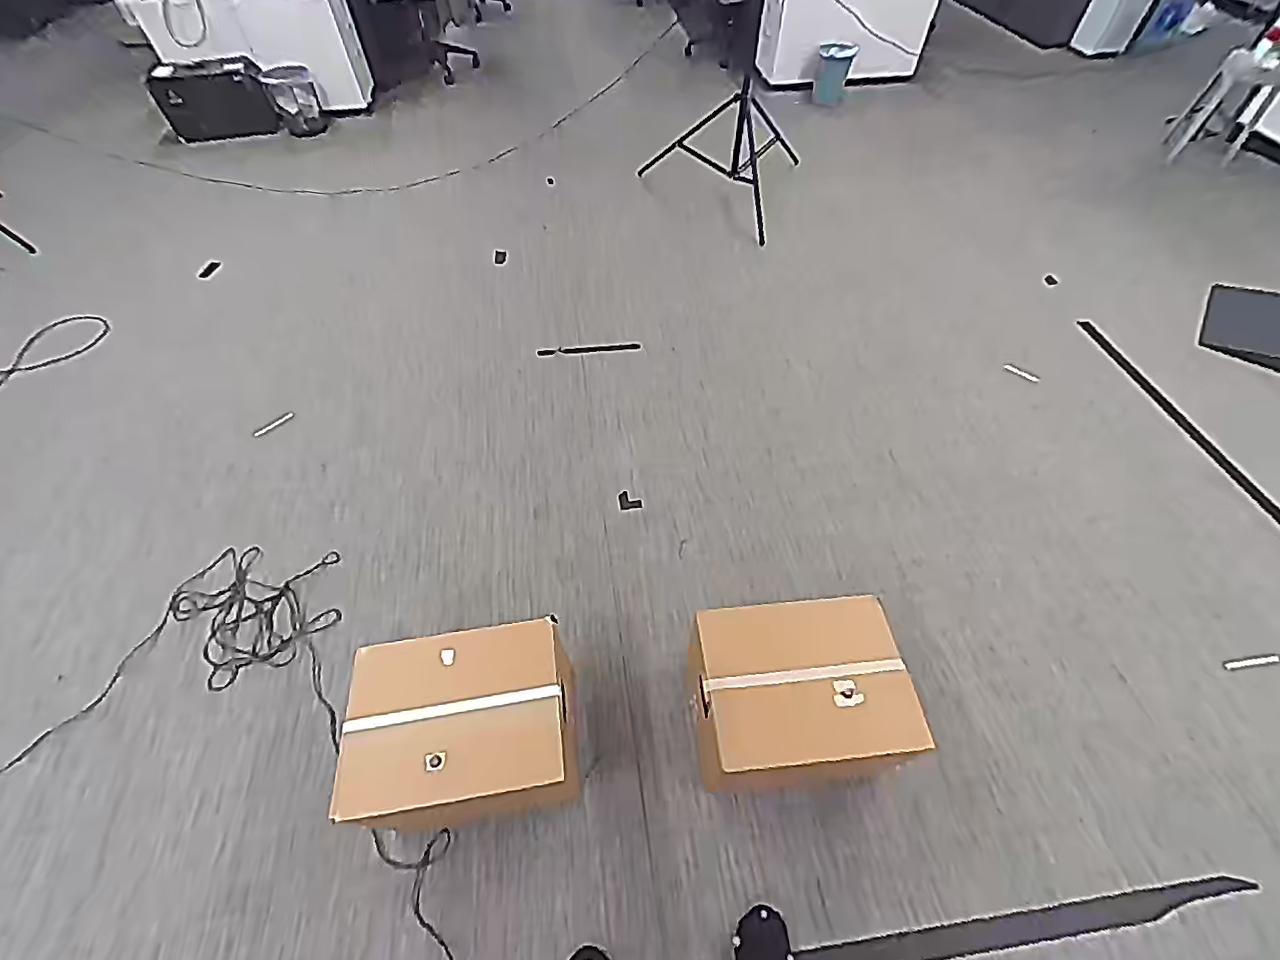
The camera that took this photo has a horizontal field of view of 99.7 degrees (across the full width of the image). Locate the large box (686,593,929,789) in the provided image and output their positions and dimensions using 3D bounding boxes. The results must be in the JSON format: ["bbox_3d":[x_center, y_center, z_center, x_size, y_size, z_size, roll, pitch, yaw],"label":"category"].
[{"bbox_3d":[0.334,0.477,1.212,0.408,0.320,0.320,-4,54,-4],"label":"large box"}]
